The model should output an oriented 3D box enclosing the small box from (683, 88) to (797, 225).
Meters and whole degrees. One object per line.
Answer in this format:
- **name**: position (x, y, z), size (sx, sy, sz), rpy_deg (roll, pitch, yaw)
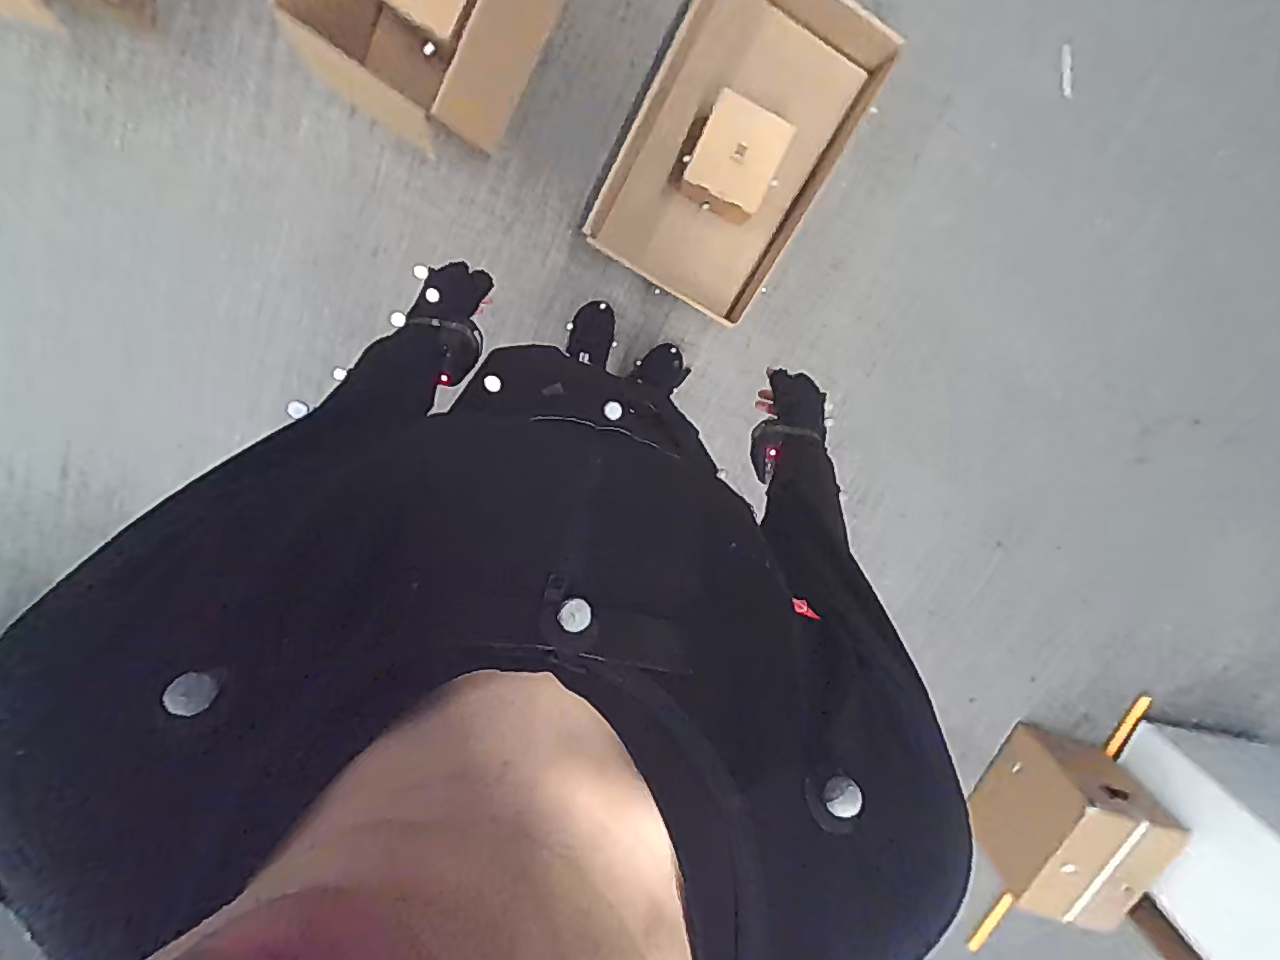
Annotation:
- **small box**: position (0.200, -0.671, 1.146), size (0.168, 0.176, 0.179), rpy_deg (24, 107, -7)
